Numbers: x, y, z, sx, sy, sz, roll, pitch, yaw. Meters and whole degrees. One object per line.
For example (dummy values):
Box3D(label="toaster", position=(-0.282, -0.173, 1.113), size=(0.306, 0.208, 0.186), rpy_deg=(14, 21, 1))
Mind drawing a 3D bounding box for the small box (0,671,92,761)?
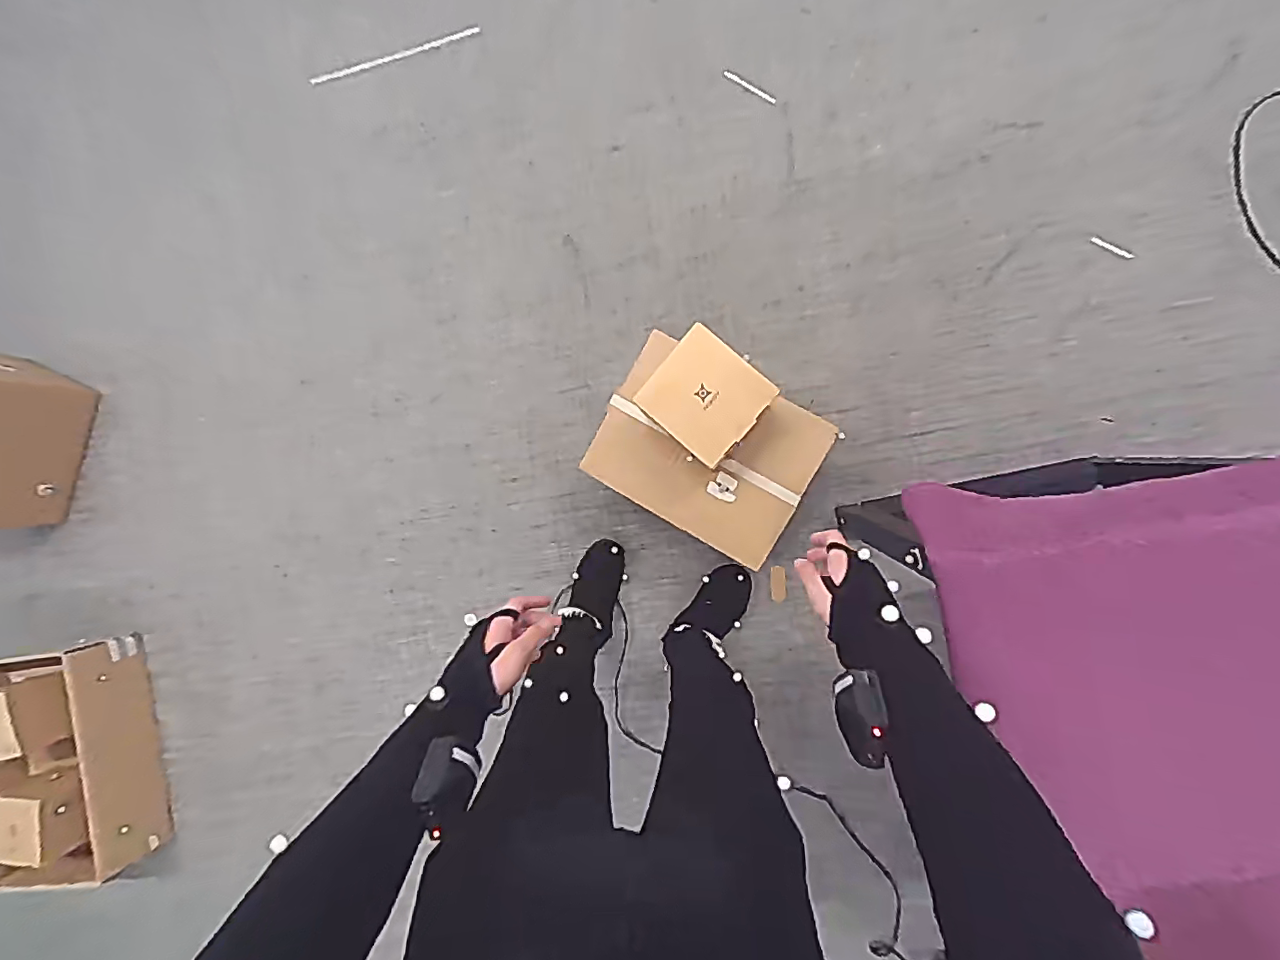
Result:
Box3D(label="small box", position=(-1.648, 0.631, 1.455), size=(0.168, 0.176, 0.179), rpy_deg=(-14, 90, 7))

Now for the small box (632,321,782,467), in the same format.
Box3D(label="small box", position=(0.111, -0.134, 0.922), size=(0.179, 0.176, 0.168), rpy_deg=(41, 95, 4))

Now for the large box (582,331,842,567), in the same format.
Box3D(label="large box", position=(0.145, -0.066, 1.166), size=(0.408, 0.320, 0.320), rpy_deg=(29, 97, 5))
